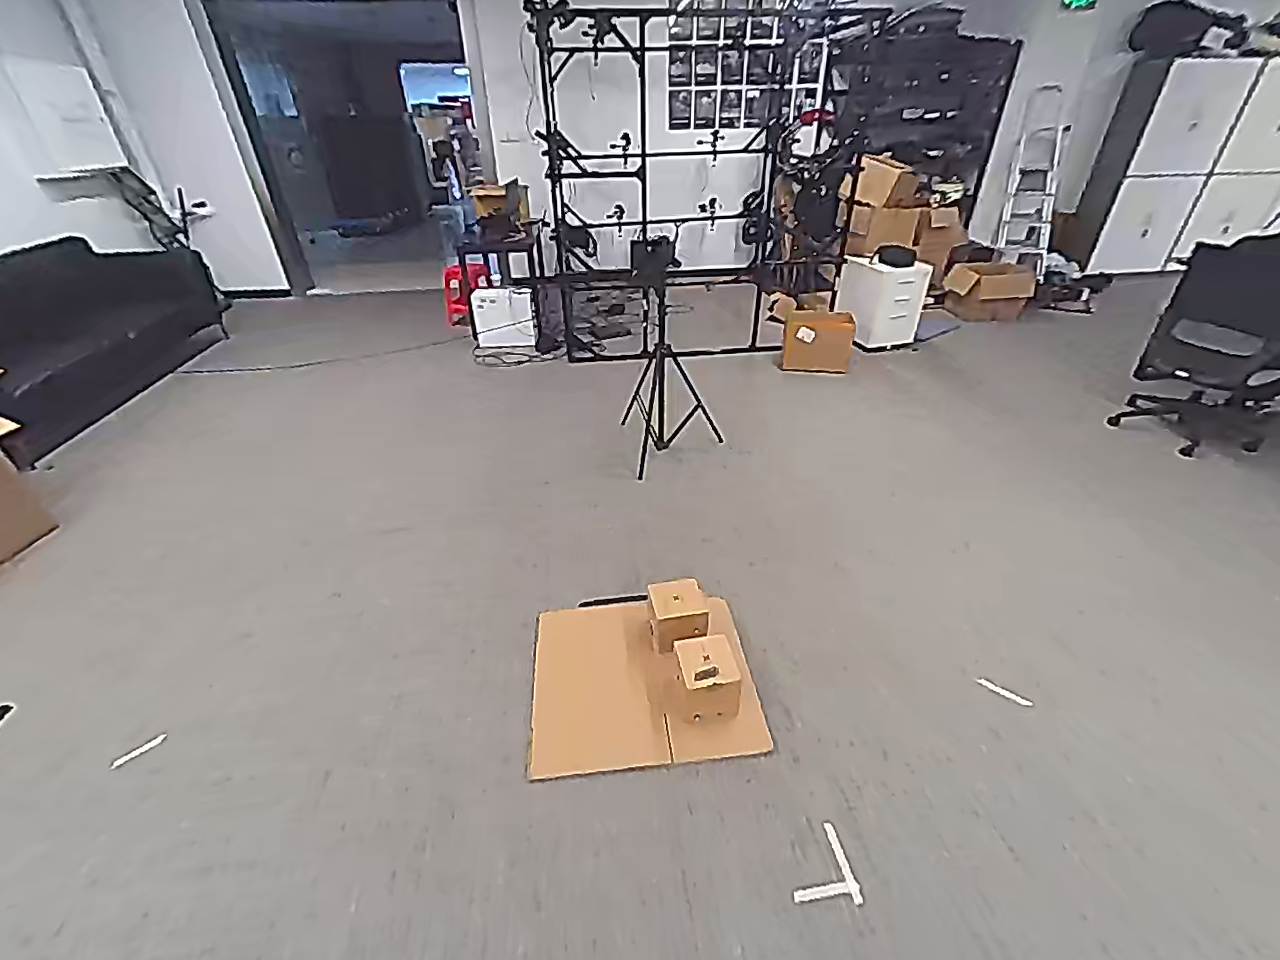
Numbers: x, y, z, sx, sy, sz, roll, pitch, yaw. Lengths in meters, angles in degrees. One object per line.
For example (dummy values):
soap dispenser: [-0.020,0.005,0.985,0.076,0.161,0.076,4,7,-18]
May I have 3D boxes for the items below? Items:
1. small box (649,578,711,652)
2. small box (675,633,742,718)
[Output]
small box: [0.131,0.463,1.850,0.179,0.176,0.168,-9,33,-9]
small box: [0.203,0.598,1.640,0.168,0.176,0.179,-7,34,-7]
